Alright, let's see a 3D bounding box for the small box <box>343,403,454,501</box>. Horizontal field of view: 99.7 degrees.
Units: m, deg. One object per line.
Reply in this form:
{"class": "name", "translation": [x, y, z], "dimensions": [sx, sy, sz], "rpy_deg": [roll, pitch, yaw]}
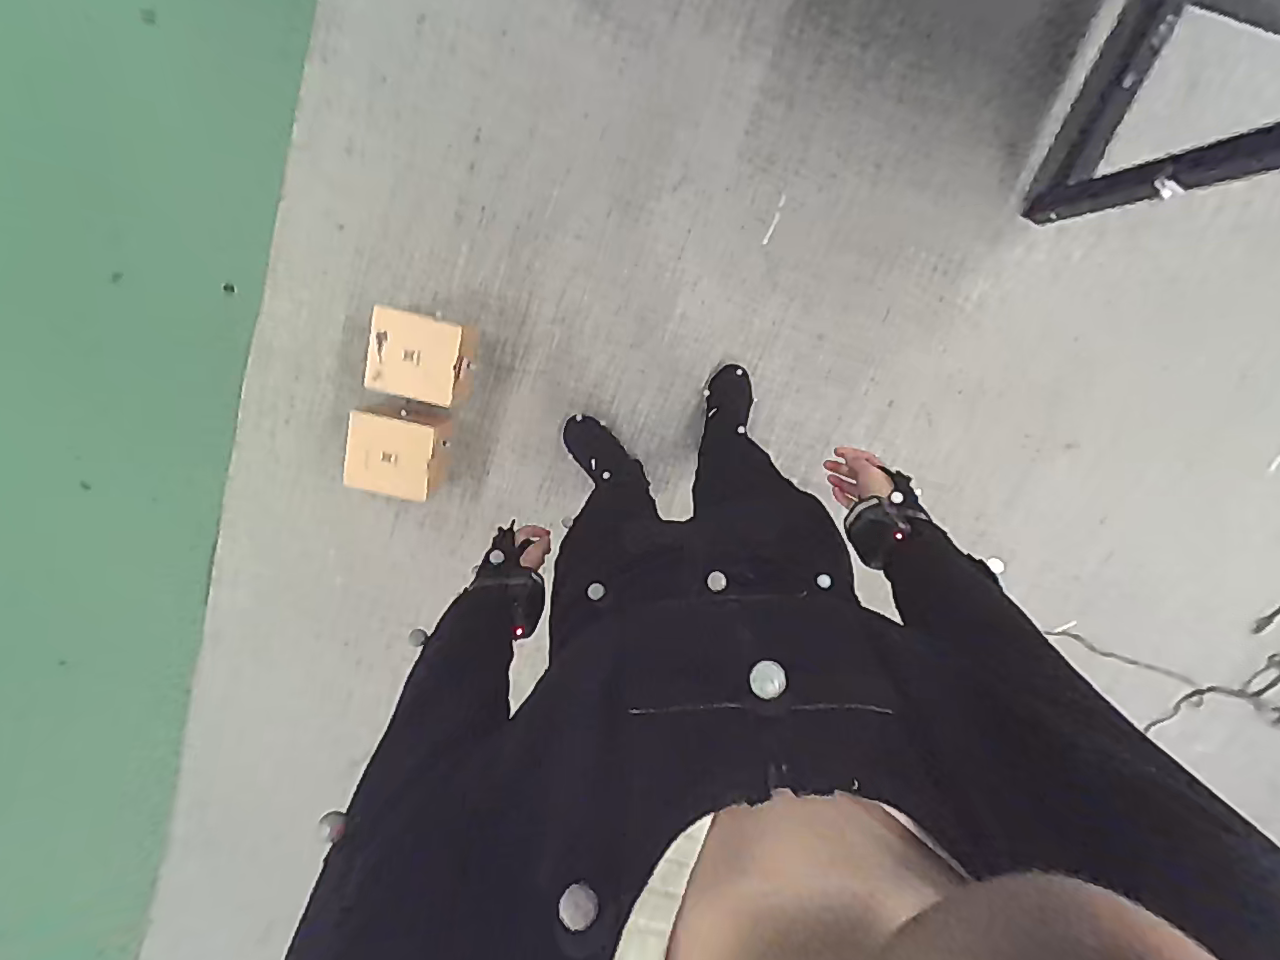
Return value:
{"class": "small box", "translation": [-0.528, -0.069, 1.202], "dimensions": [0.179, 0.176, 0.168], "rpy_deg": [11, 104, -6]}
